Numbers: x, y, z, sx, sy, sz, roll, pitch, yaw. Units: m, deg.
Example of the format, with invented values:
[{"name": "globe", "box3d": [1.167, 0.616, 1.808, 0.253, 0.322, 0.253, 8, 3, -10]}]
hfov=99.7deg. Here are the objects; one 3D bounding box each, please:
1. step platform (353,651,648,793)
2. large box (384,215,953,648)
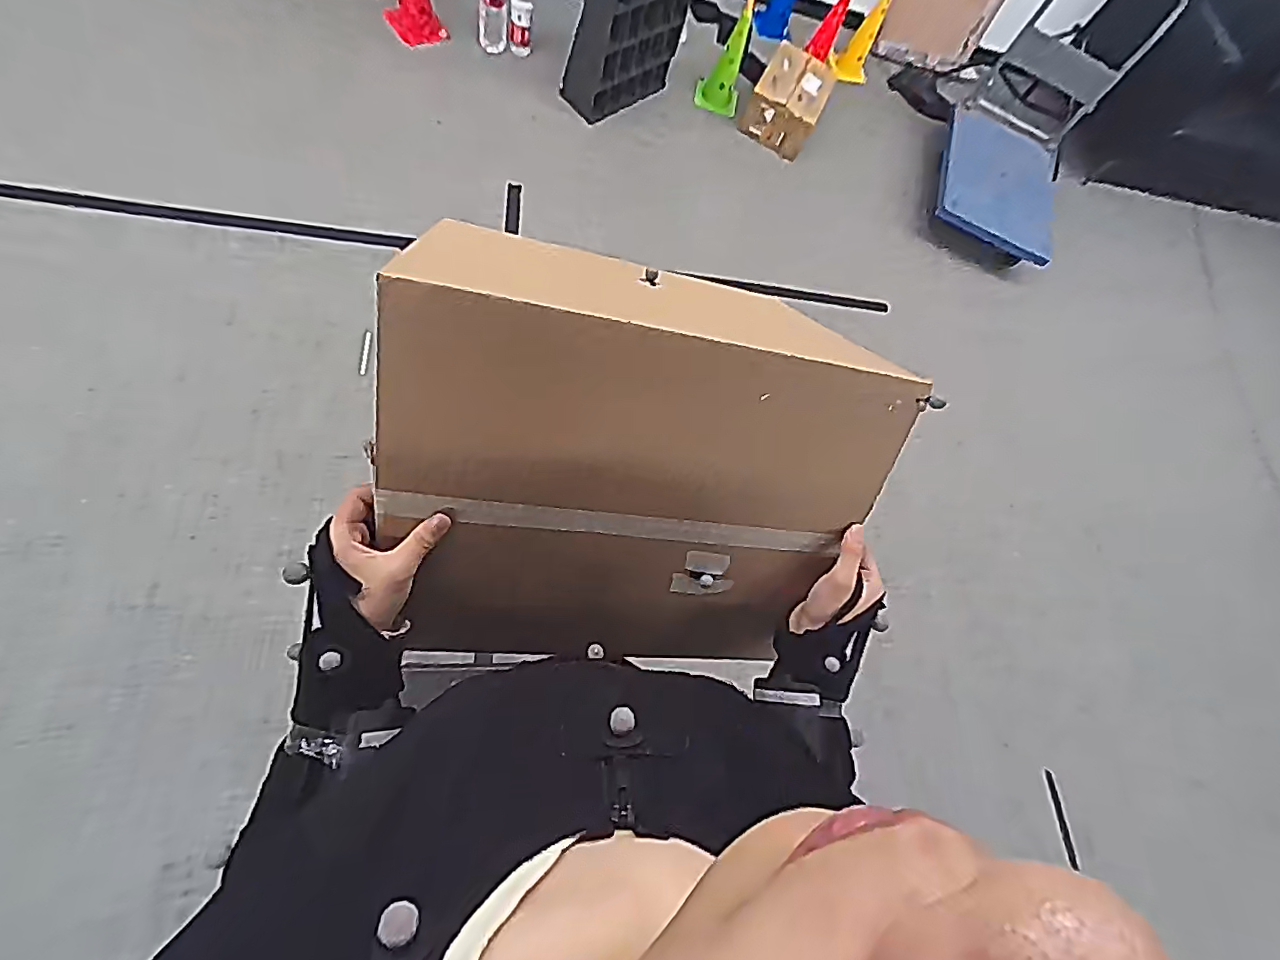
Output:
[{"name": "step platform", "box3d": [-0.322, 0.596, 1.337, 0.684, 0.204, 0.286, 9, 68, -13]}, {"name": "large box", "box3d": [-0.014, -0.053, 0.548, 0.408, 0.320, 0.320, 6, 30, -16]}]
